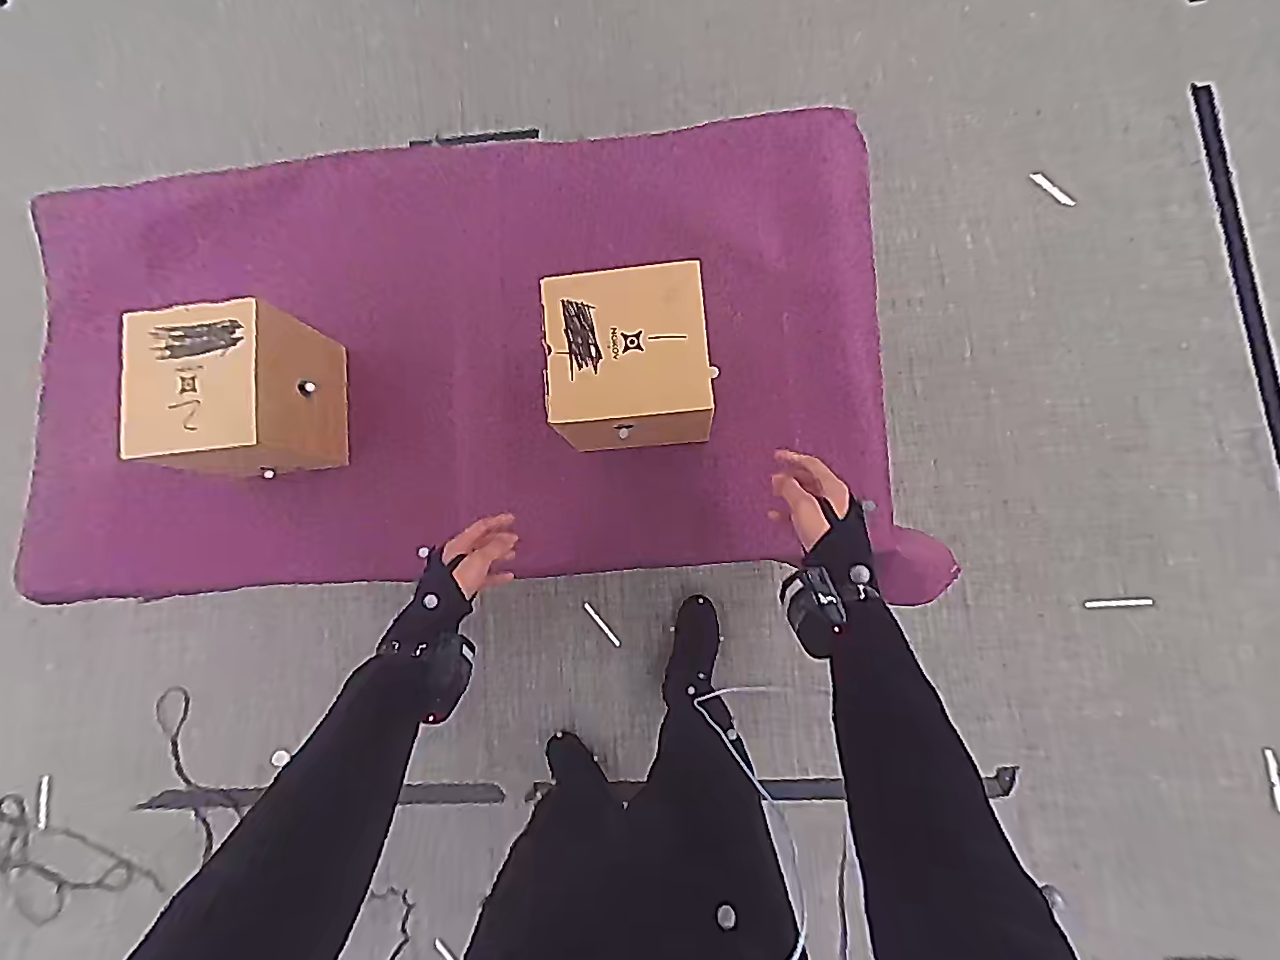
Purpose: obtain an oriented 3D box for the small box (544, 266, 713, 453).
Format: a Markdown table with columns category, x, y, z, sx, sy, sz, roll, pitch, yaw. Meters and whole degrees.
| category | x | y | z | sx | sy | sz | roll | pitch | yaw |
| --- | --- | --- | --- | --- | --- | --- | --- | --- | --- |
| small box | -0.006 | -0.130 | 0.649 | 0.179 | 0.176 | 0.168 | -4 | 83 | 4 |
